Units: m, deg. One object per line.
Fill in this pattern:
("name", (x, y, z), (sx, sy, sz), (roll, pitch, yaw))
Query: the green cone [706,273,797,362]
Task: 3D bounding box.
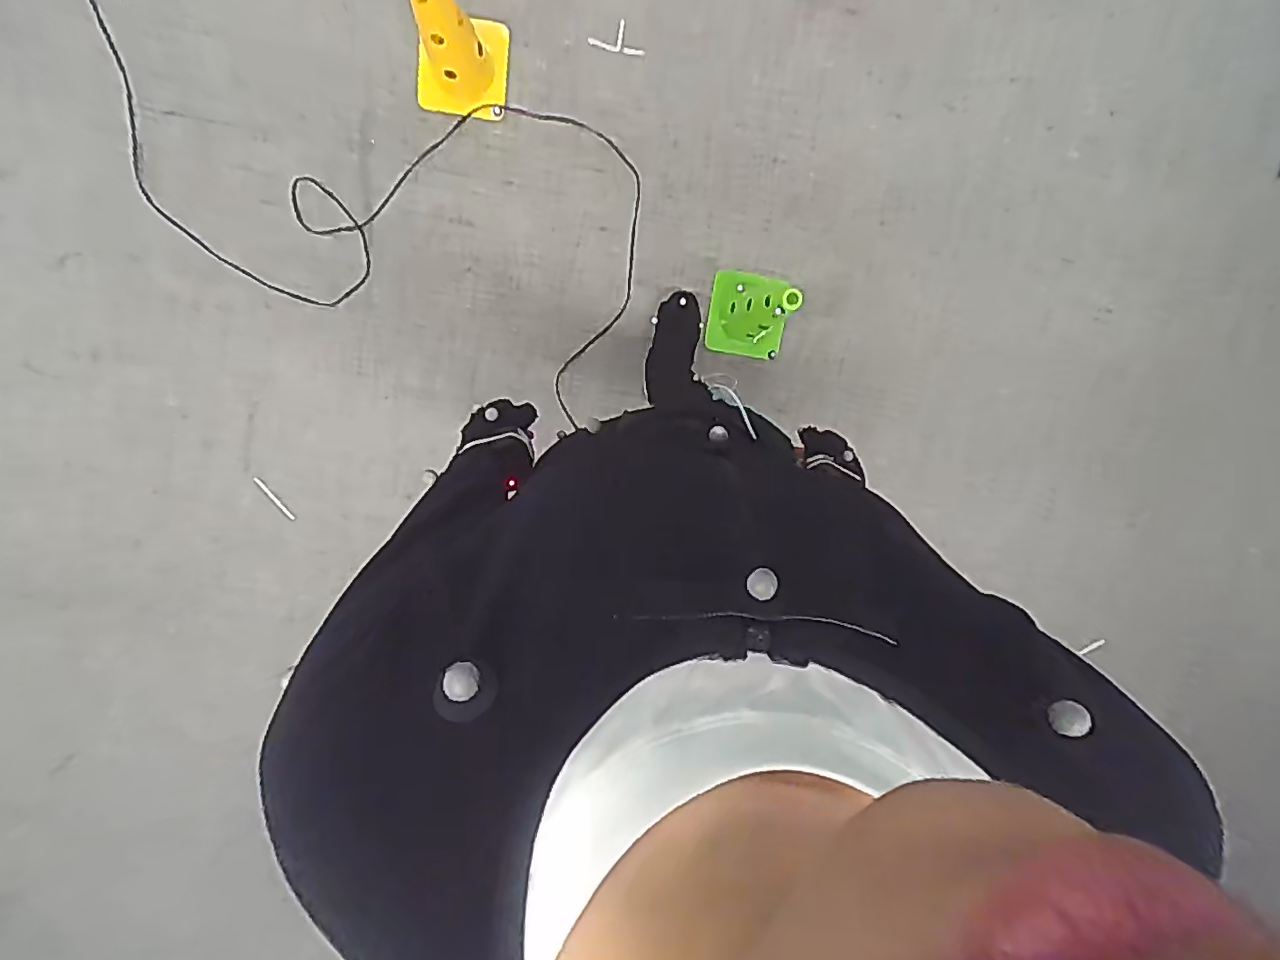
("green cone", (0.285, -0.386, 1.224), (0.202, 0.368, 0.200), (8, 100, -3))
